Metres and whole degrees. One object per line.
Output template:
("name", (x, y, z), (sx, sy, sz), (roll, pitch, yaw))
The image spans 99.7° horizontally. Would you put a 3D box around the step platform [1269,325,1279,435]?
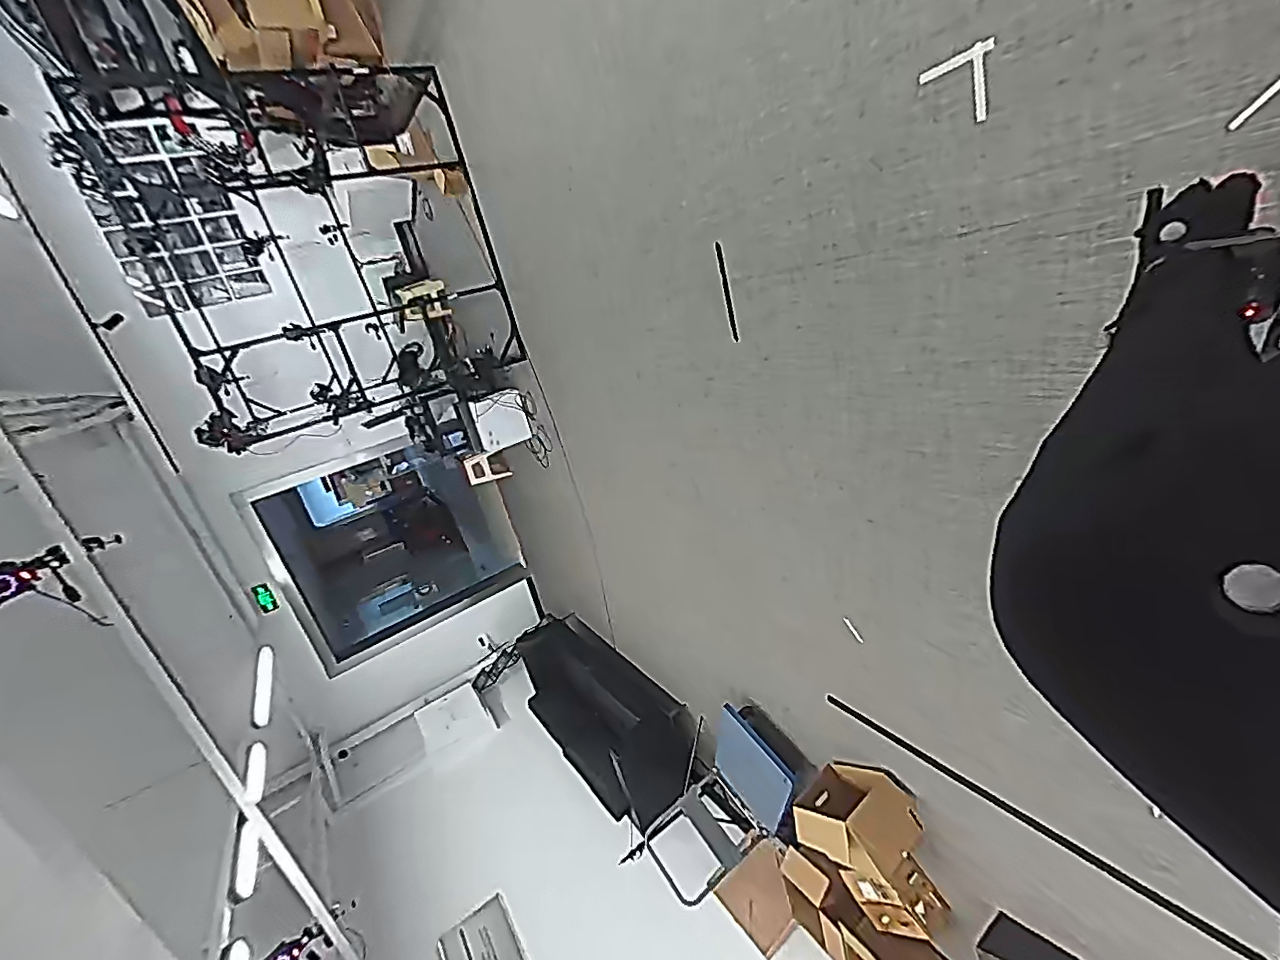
("step platform", (1.338, -0.177, 0.698), (0.684, 0.204, 0.286), (17, 127, 58))
